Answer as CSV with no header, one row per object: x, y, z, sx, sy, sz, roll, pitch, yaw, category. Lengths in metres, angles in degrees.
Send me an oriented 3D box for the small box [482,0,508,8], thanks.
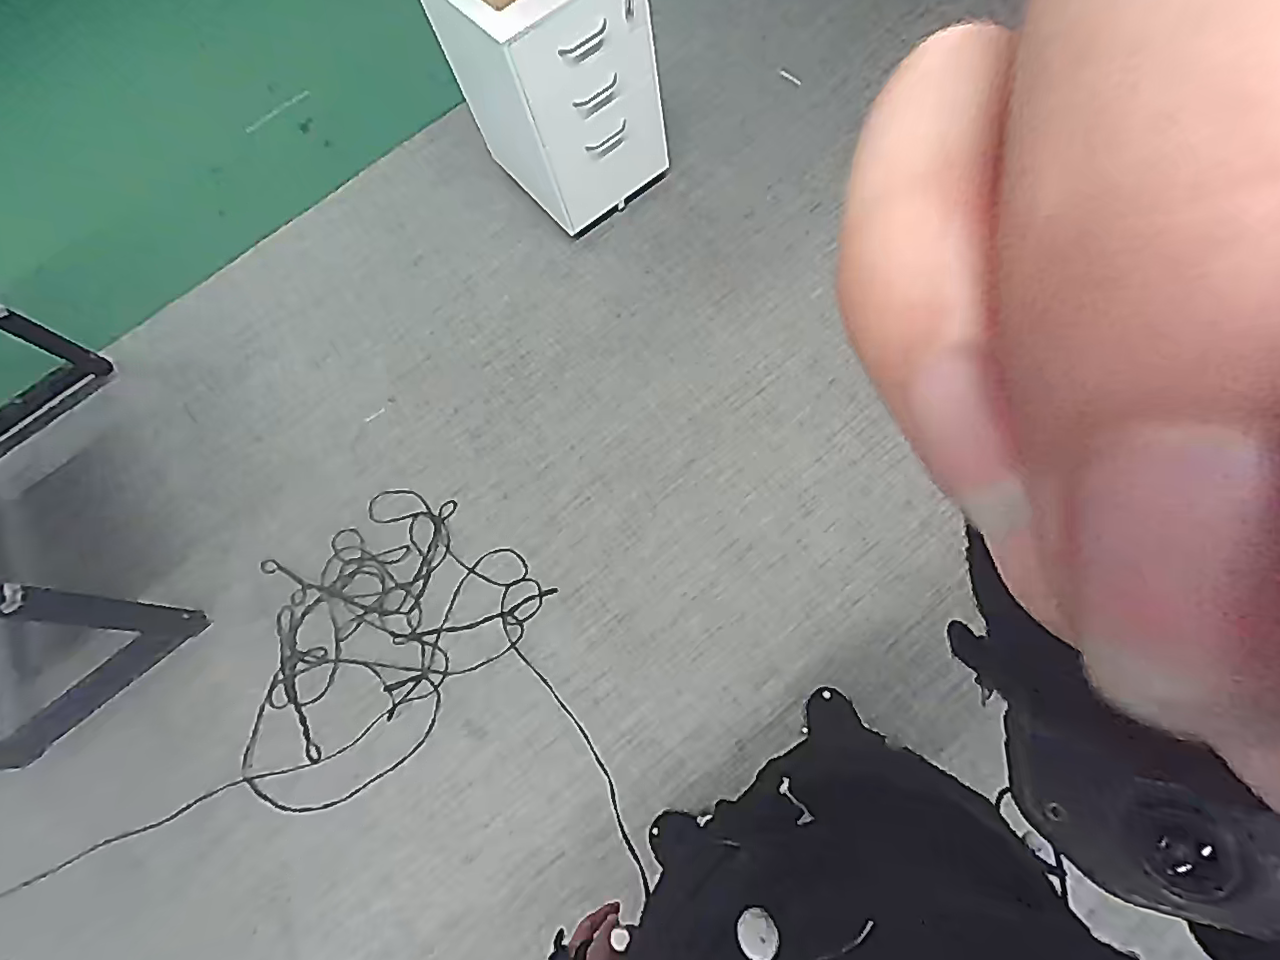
-0.322,-1.202,1.187,0.179,0.176,0.168,-39,68,-6,small box
